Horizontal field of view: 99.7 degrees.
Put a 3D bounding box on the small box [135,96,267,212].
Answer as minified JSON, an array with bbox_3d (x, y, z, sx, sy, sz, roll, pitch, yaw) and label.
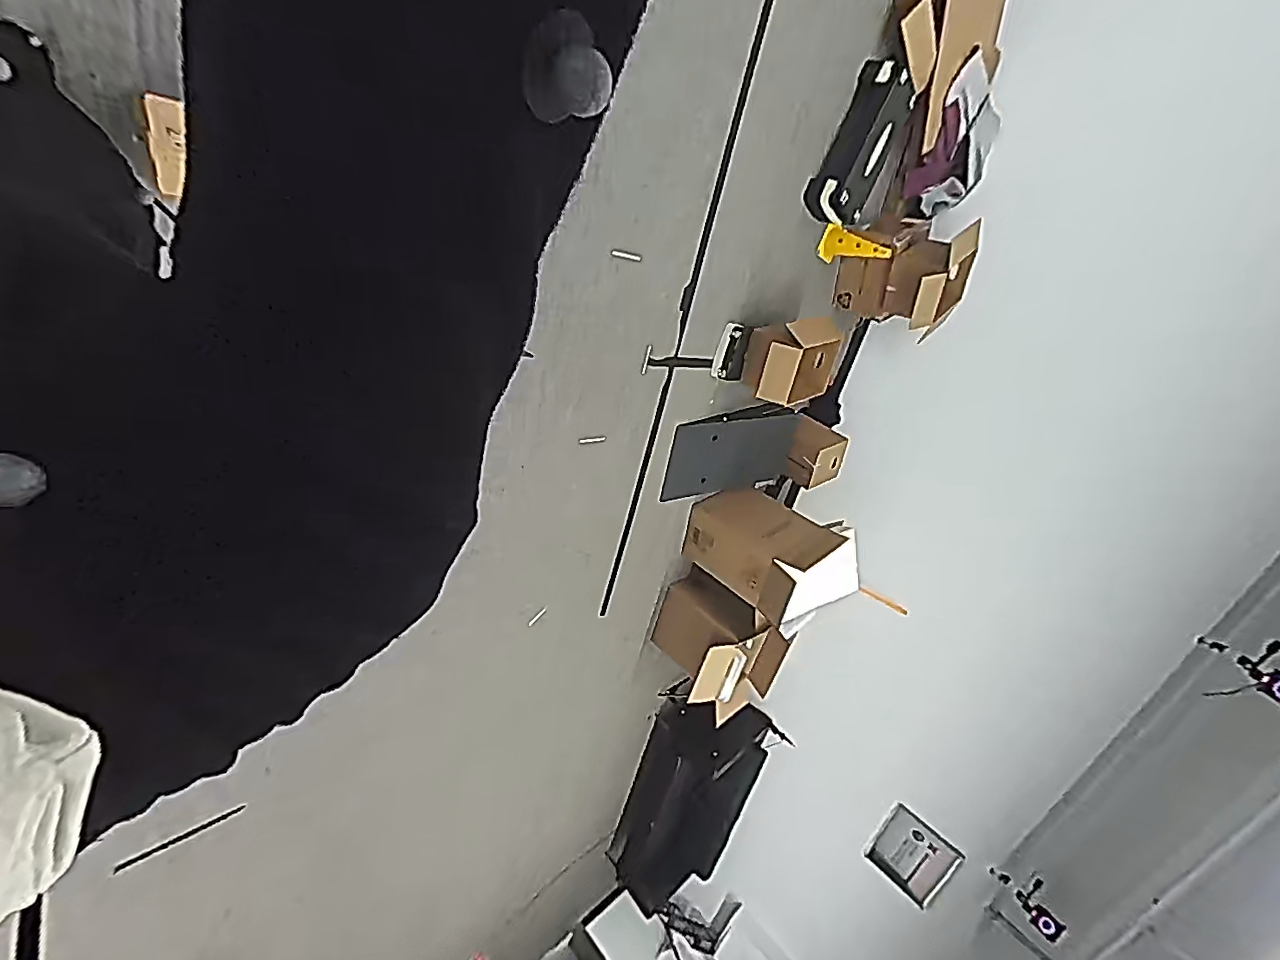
[{"bbox_3d":[-0.896,-0.667,1.109,0.179,0.176,0.168,-13,127,-44],"label":"small box"}]
